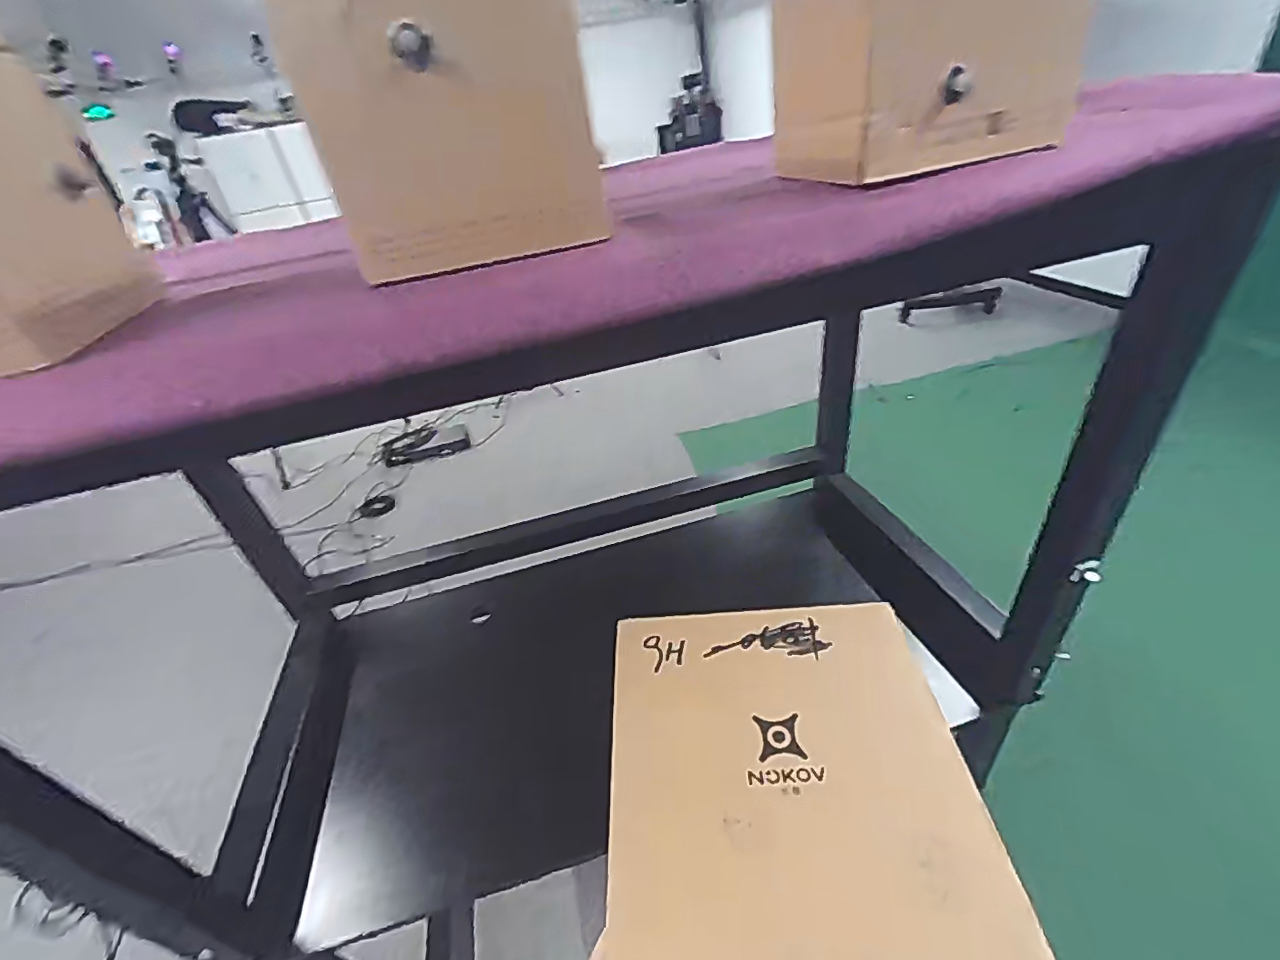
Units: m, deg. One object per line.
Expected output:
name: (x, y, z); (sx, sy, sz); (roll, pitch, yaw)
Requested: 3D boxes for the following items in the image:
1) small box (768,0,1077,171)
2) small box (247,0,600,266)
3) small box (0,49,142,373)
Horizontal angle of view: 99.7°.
small box: (0.208, -0.358, 0.434); (0.168, 0.176, 0.179); (-15, 33, -4)
small box: (-0.140, -0.268, 0.397); (0.179, 0.176, 0.168); (-14, 34, -7)
small box: (-0.465, -0.158, 0.325); (0.168, 0.176, 0.179); (-18, 37, -10)
